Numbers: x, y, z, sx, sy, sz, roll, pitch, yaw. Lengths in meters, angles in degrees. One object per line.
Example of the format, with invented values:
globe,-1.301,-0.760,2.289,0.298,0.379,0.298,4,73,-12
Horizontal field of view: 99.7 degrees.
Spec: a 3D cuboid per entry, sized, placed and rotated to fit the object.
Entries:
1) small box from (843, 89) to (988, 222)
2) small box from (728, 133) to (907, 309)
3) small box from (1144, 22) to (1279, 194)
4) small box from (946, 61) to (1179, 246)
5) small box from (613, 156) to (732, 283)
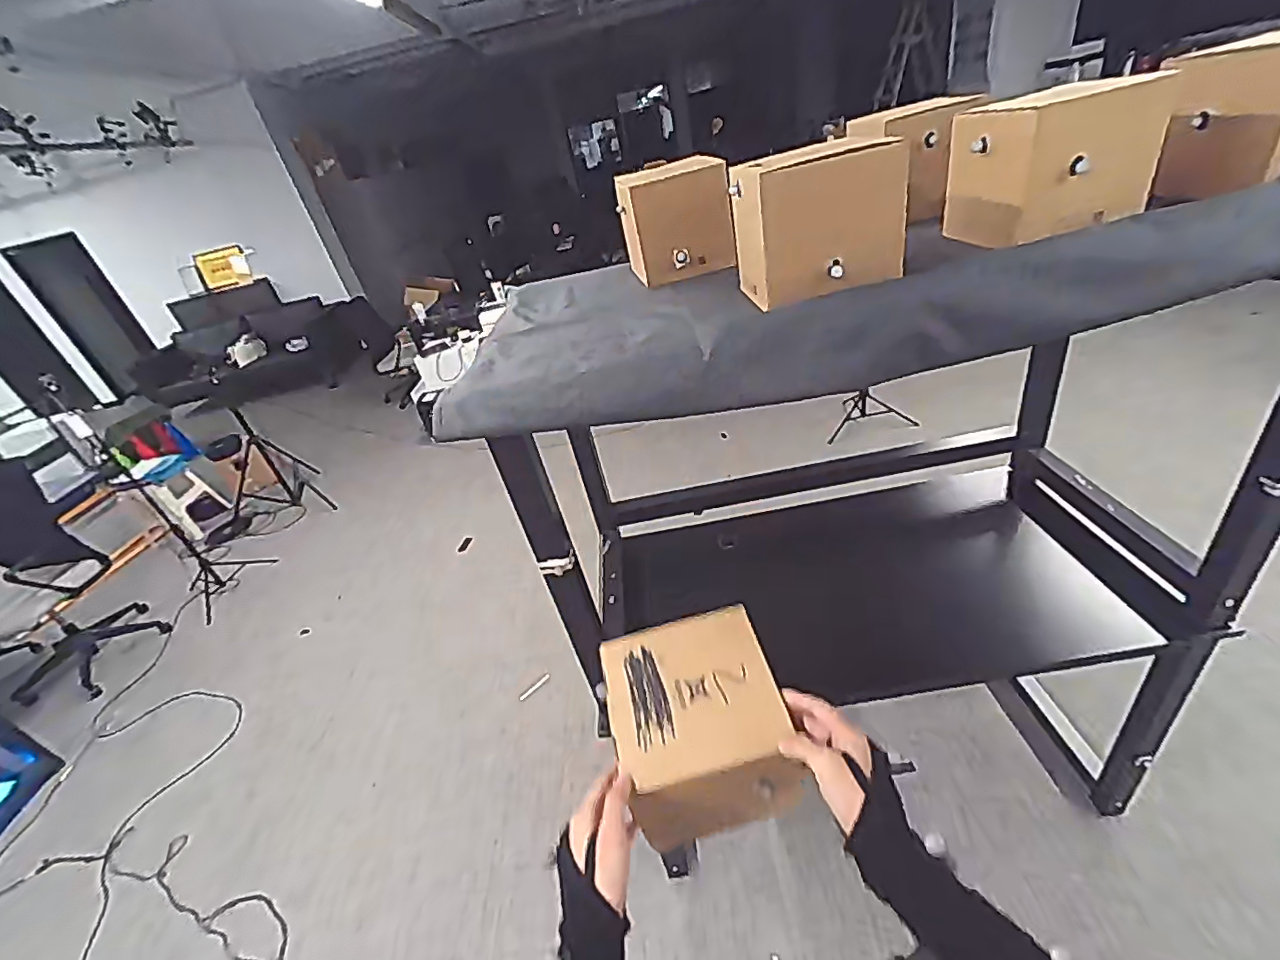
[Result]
small box,0.478,-0.569,0.963,0.179,0.176,0.168,-12,33,4
small box,0.223,-0.342,0.714,0.179,0.176,0.168,-11,31,3
small box,0.805,-0.479,0.695,0.168,0.176,0.179,-15,31,-1
small box,0.537,-0.424,0.720,0.168,0.176,0.179,-13,31,2
small box,0.057,-0.468,0.973,0.168,0.176,0.179,-16,32,-1
